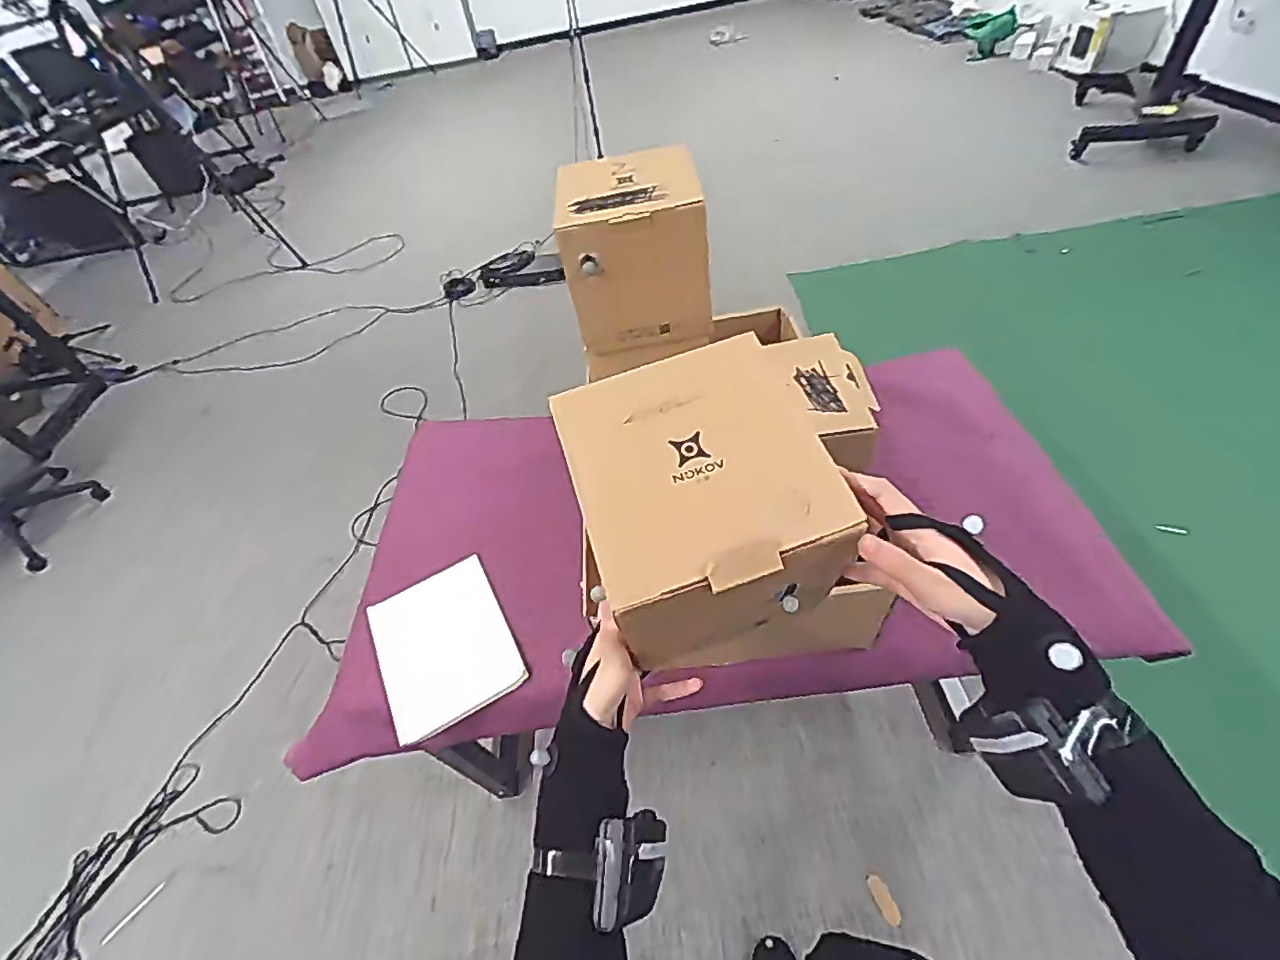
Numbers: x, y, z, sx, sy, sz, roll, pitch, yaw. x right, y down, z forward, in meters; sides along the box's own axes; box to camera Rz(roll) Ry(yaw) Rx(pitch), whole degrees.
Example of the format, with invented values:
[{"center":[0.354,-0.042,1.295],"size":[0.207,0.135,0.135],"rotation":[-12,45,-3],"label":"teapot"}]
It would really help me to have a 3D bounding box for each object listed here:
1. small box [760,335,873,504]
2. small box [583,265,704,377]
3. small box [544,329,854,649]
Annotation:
[{"center":[0.158,-0.046,0.653],"size":[0.179,0.176,0.168],"rotation":[-8,47,7],"label":"small box"},{"center":[0.015,-0.193,0.820],"size":[0.168,0.176,0.179],"rotation":[-7,50,5],"label":"small box"},{"center":[0.039,0.019,0.430],"size":[0.168,0.176,0.179],"rotation":[-18,58,-4],"label":"small box"}]
